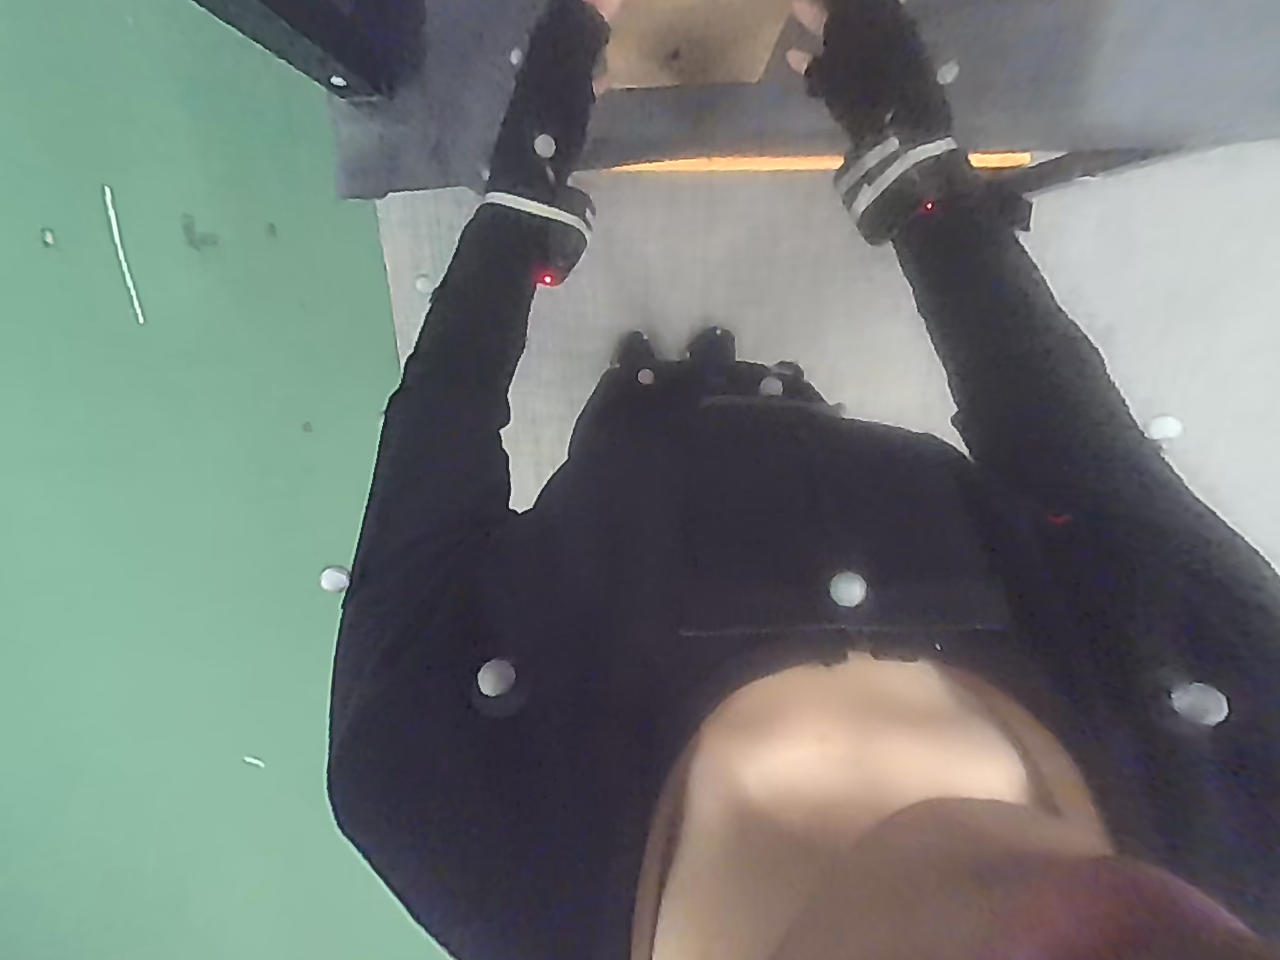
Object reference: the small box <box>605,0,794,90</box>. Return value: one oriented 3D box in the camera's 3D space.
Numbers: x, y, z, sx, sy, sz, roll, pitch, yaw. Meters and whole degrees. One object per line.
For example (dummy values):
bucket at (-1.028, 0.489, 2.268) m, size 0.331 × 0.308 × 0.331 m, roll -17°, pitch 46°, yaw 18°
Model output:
small box at (0.048, -0.505, 0.505) m, size 0.168 × 0.176 × 0.179 m, roll -2°, pitch 103°, yaw 1°
